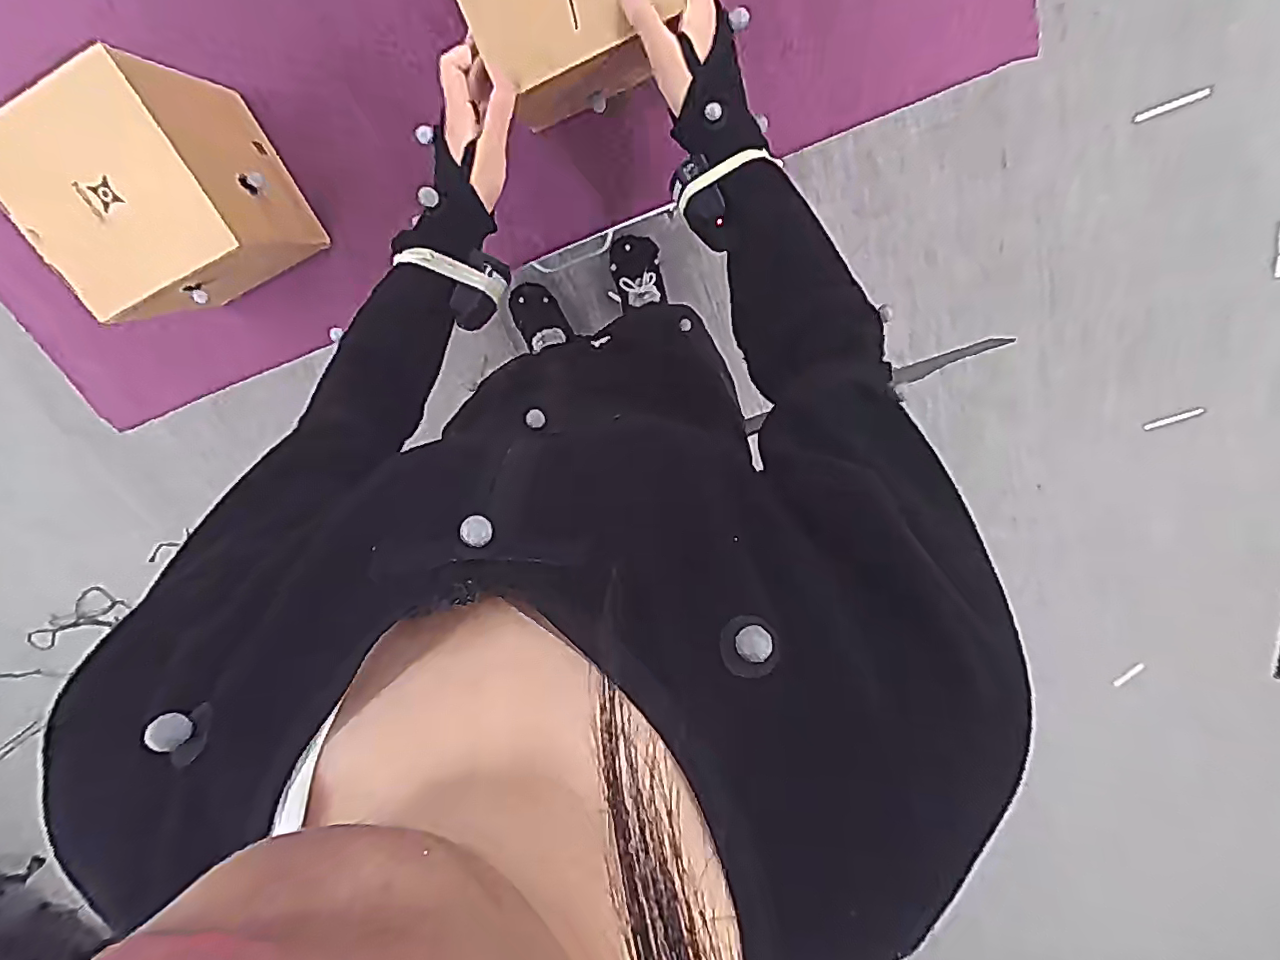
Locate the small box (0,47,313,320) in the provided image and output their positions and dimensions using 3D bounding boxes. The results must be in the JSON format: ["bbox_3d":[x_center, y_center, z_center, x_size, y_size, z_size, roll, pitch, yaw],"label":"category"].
[{"bbox_3d":[-0.474,-0.286,0.548,0.179,0.176,0.168,-22,113,10],"label":"small box"}]

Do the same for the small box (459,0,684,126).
[{"bbox_3d":[-0.072,-0.445,0.472,0.168,0.176,0.179,-19,115,9],"label":"small box"}]
